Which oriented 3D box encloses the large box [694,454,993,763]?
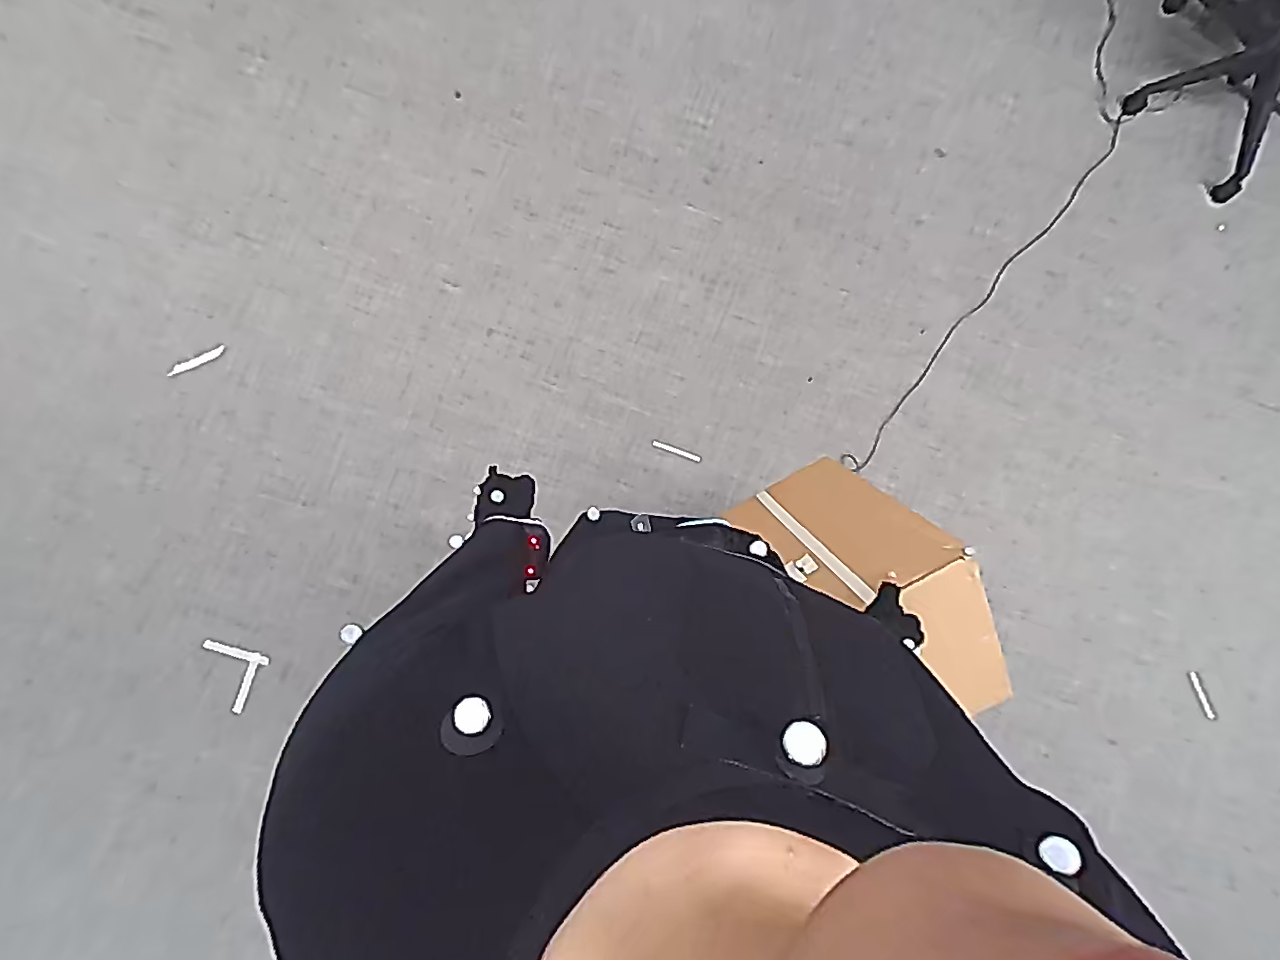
[{"bbox_3d":[0.350,0.209,1.005,0.320,0.408,0.320,-30,116,1],"label":"large box"}]
